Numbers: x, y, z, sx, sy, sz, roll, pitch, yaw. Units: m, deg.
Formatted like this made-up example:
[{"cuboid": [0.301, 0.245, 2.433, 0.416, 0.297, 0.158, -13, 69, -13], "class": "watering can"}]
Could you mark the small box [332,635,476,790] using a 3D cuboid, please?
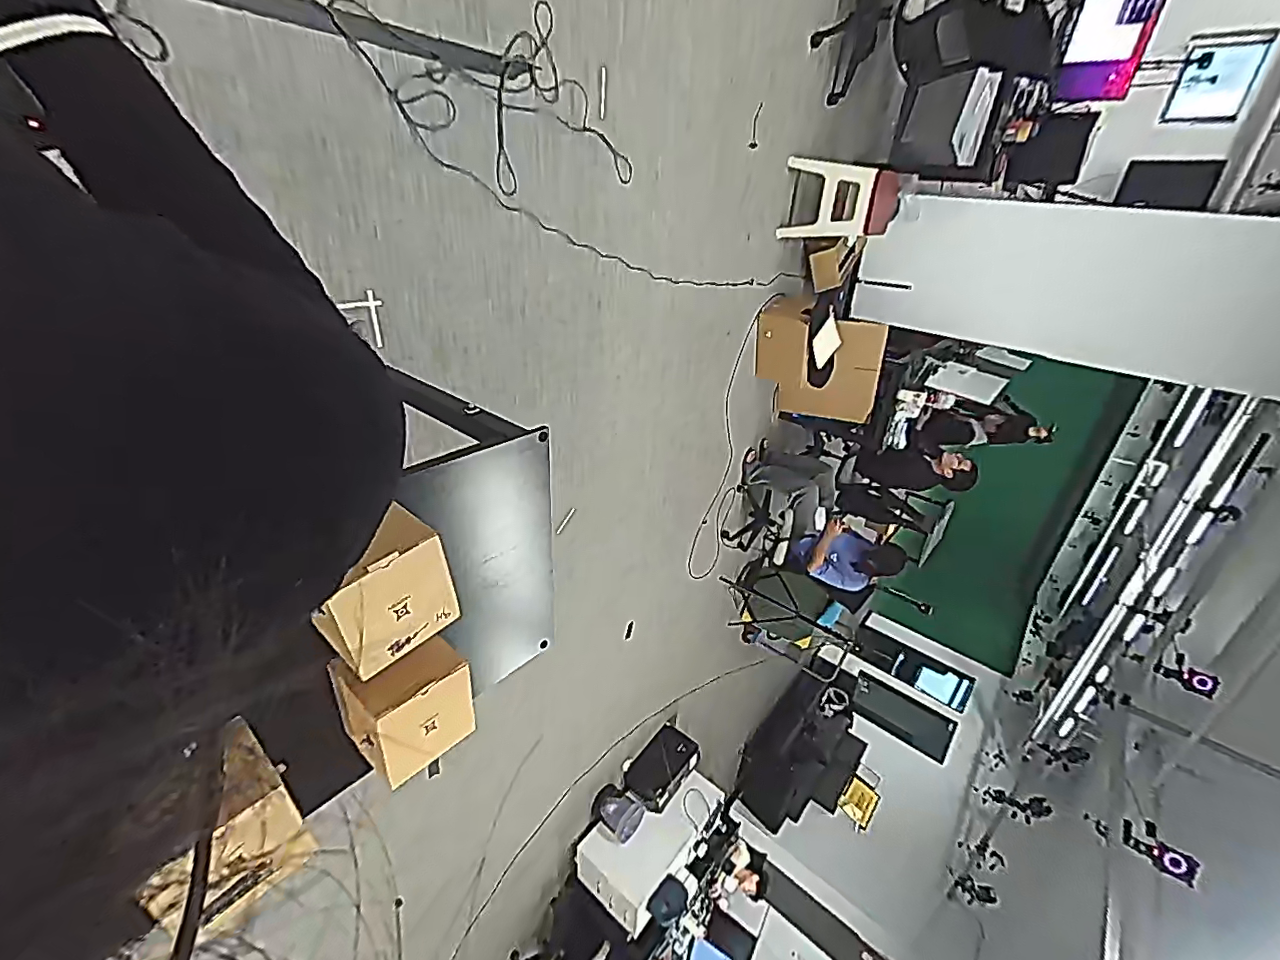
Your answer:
[{"cuboid": [-0.413, 0.387, 0.955, 0.168, 0.176, 0.179, -26, 130, -44], "class": "small box"}]

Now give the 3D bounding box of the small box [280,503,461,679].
[{"cuboid": [-0.404, 0.153, 0.818, 0.168, 0.176, 0.179, -33, 135, -39], "class": "small box"}]
